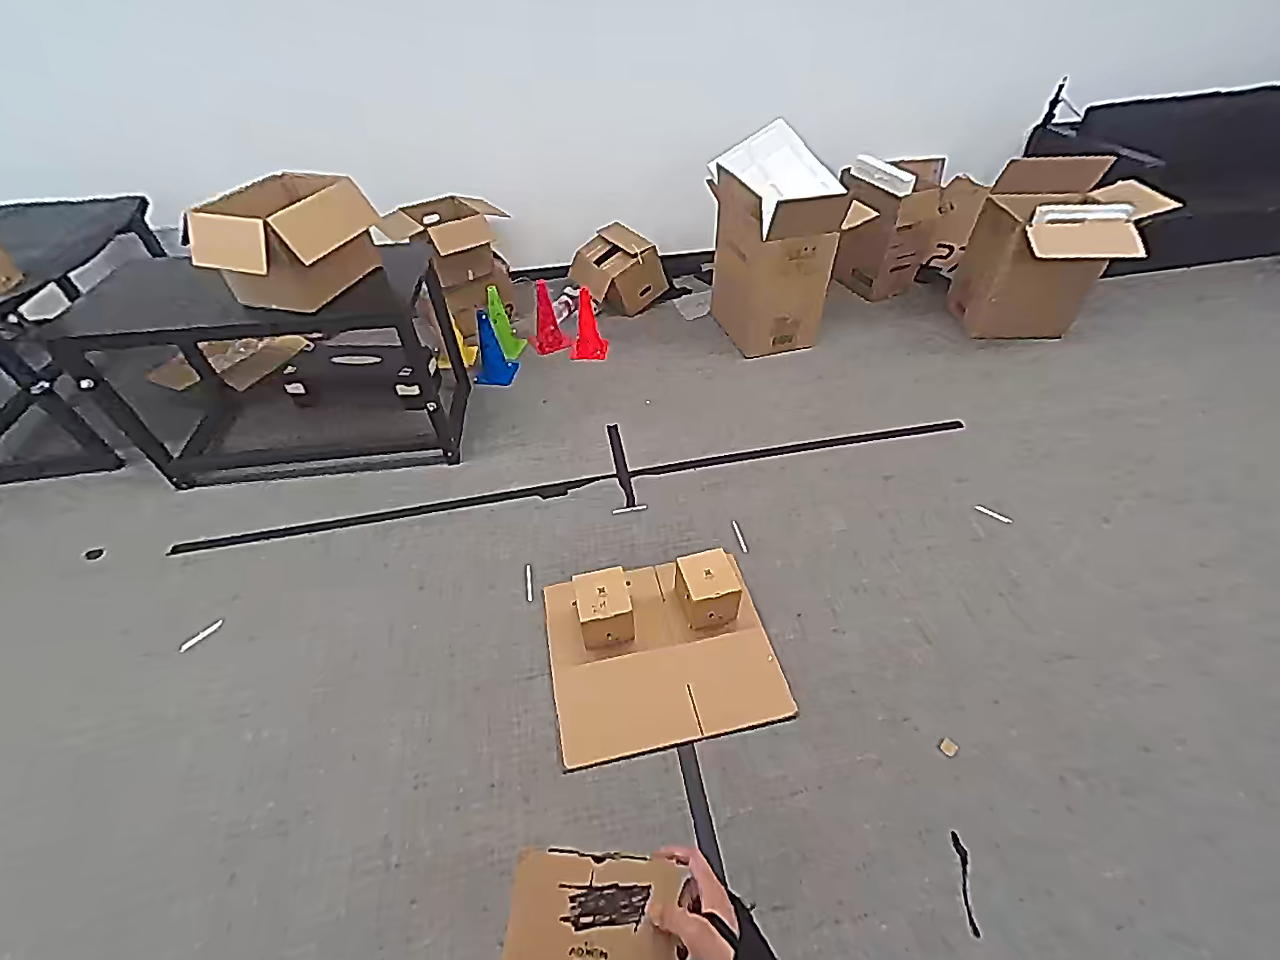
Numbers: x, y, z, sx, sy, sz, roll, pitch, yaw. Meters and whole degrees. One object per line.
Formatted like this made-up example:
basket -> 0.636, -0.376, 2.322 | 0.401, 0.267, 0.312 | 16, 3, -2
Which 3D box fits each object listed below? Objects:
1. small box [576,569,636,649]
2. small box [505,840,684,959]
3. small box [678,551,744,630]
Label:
small box -> -0.109, 0.417, 1.744 | 0.168, 0.176, 0.179 | -11, 46, -8
small box -> -0.043, 0.496, 0.563 | 0.168, 0.176, 0.179 | 2, 51, 4
small box -> 0.227, 0.366, 1.794 | 0.168, 0.176, 0.179 | -13, 46, -10
